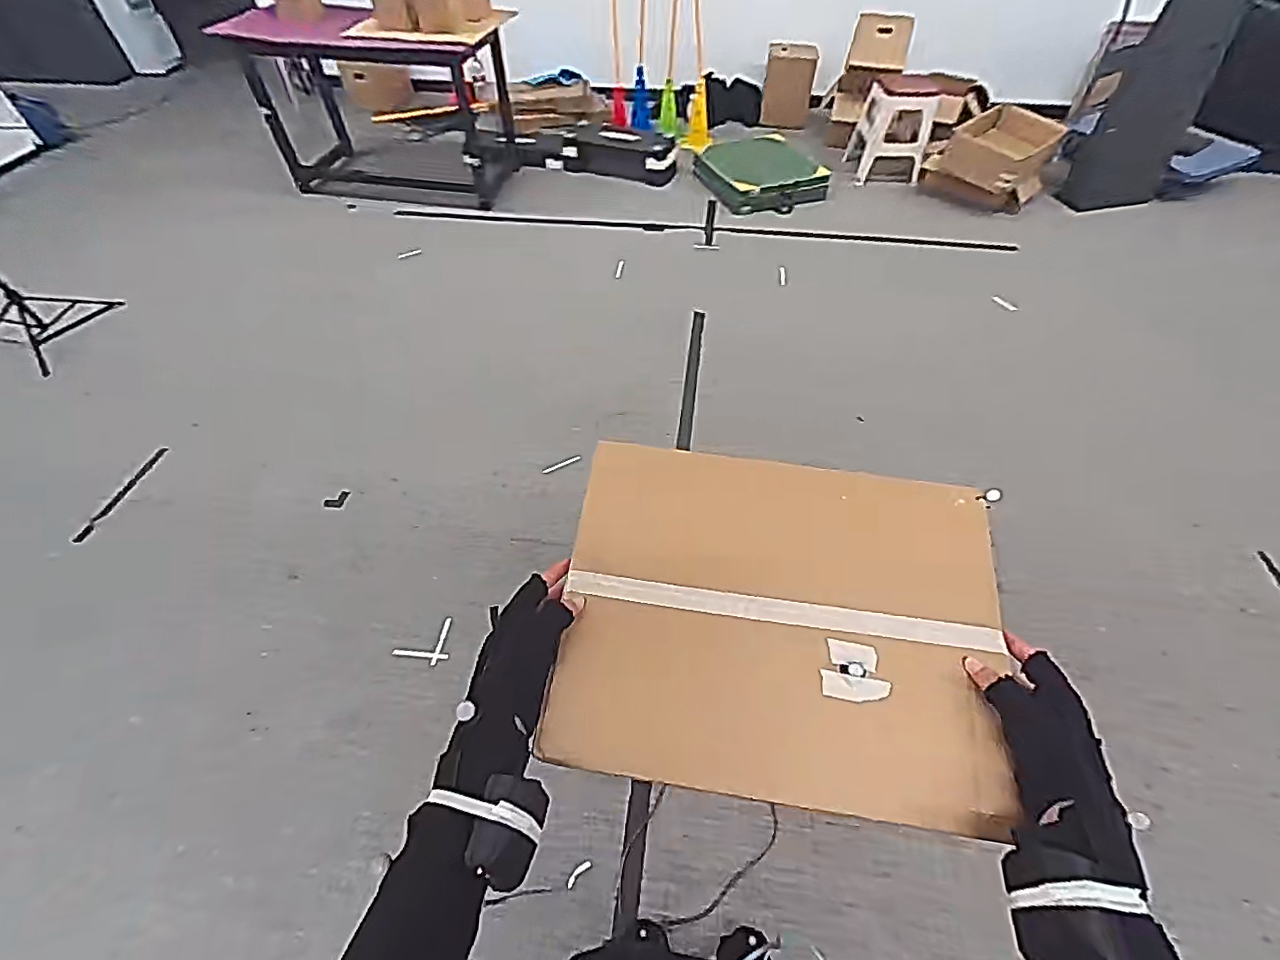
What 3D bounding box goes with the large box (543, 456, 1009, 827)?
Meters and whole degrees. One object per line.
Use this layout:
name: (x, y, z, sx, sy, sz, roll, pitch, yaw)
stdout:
large box: (0.129, 0.194, 0.655, 0.408, 0.320, 0.320, 7, 66, 4)
